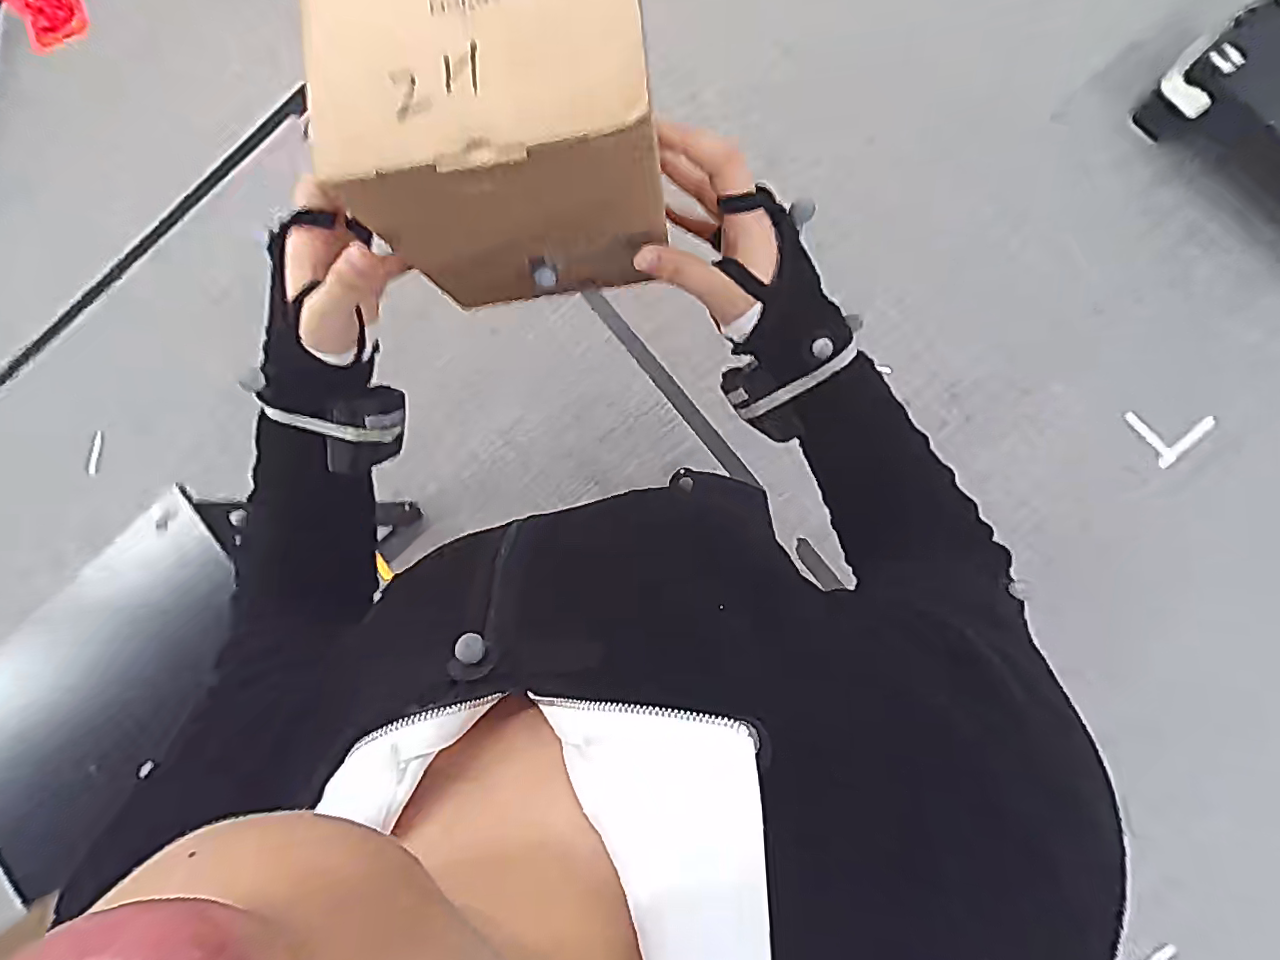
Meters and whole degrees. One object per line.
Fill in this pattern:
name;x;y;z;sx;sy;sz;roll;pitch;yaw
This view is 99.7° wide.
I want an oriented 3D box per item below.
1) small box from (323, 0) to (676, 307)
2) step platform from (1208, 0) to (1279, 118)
small box;-0.067;-0.232;0.341;0.168;0.176;0.179;-6;86;6
step platform;1.544;-0.806;1.072;0.286;0.204;0.684;-42;85;2
